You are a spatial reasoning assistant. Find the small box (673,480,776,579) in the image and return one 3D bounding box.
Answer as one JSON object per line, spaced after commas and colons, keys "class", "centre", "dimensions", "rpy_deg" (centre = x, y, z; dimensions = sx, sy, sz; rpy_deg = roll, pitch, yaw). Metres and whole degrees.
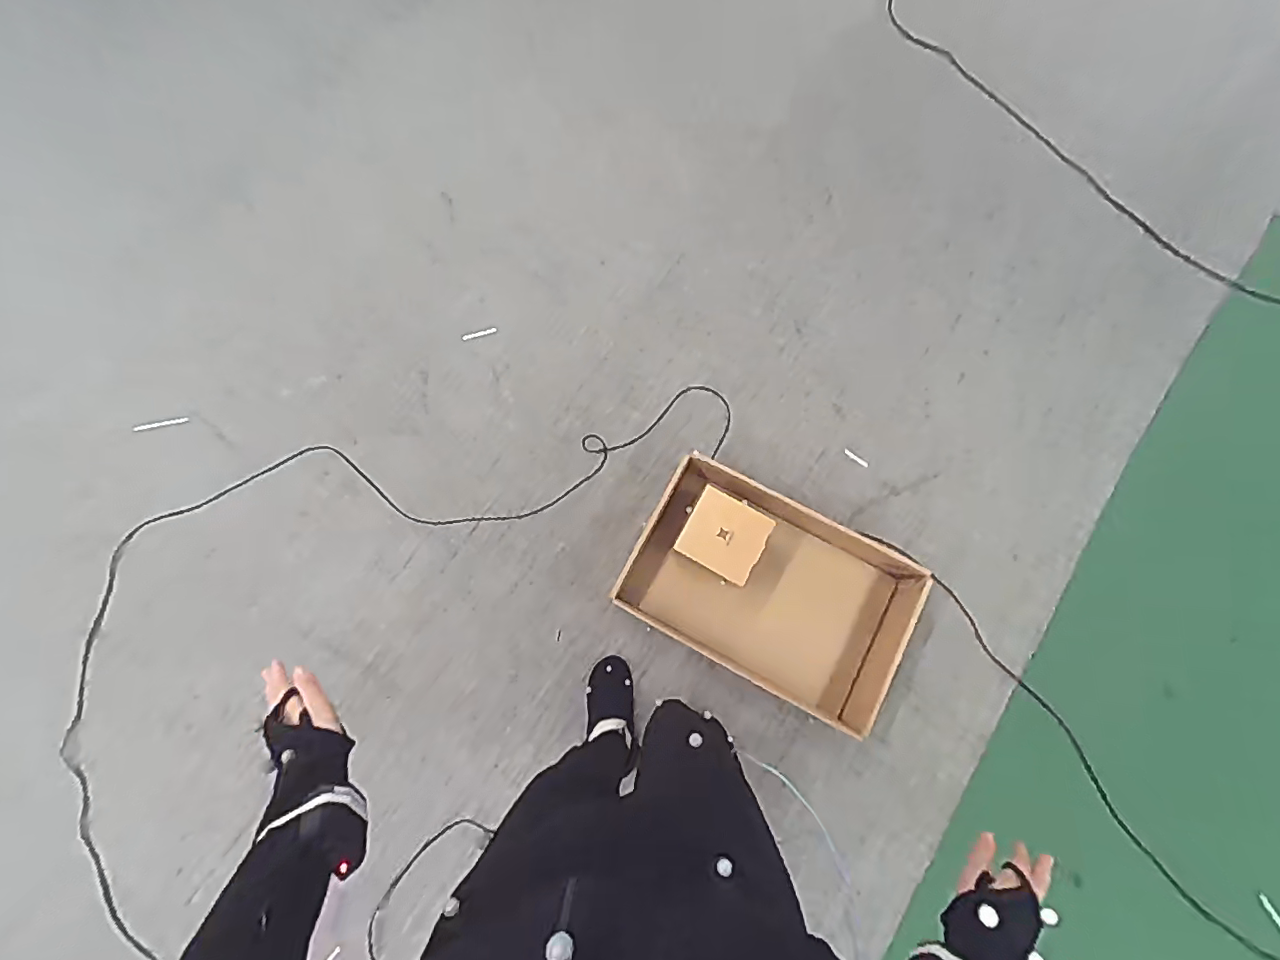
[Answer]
{"class": "small box", "centre": [0.188, 0.123, 1.266], "dimensions": [0.179, 0.176, 0.168], "rpy_deg": [28, 81, 5]}
